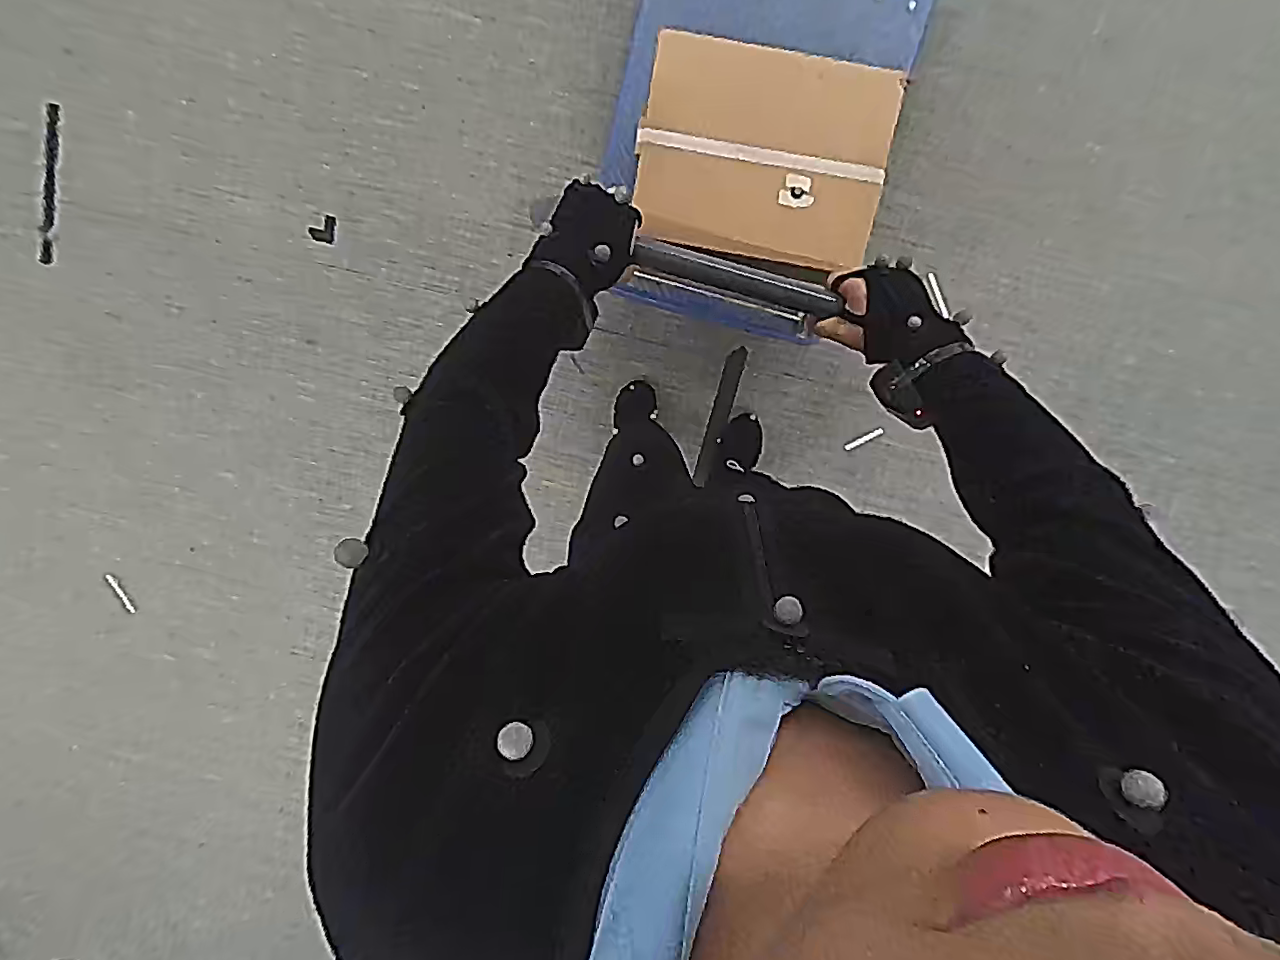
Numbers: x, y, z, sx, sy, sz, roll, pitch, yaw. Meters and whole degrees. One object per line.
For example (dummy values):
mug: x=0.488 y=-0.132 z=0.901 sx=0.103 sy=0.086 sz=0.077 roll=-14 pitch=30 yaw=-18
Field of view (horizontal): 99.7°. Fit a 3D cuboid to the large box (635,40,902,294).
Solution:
large box: x=0.211 y=-0.568 z=1.052 sx=0.408 sy=0.320 sz=0.320 roll=10 pitch=103 yaw=-1
